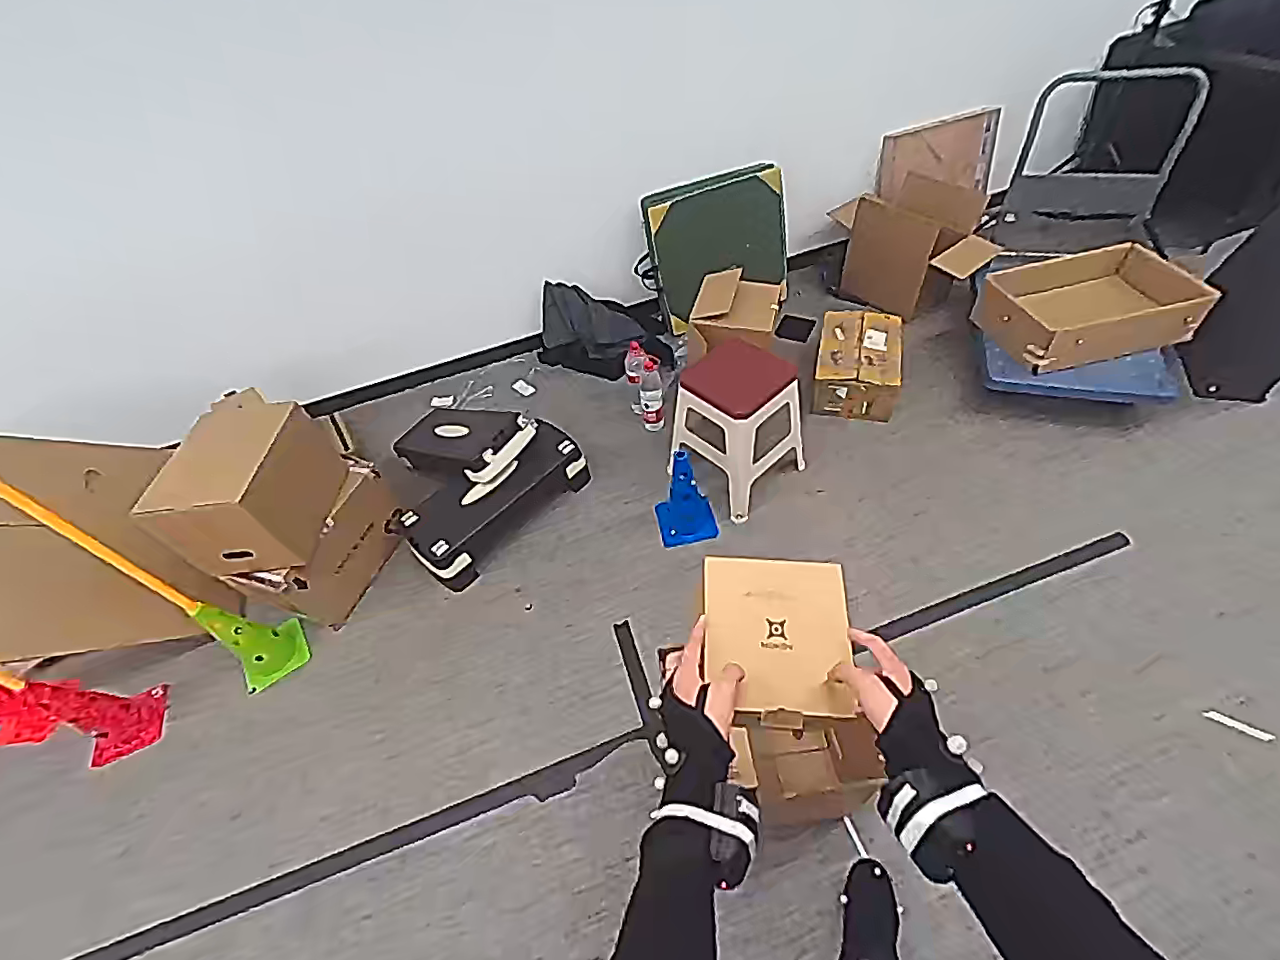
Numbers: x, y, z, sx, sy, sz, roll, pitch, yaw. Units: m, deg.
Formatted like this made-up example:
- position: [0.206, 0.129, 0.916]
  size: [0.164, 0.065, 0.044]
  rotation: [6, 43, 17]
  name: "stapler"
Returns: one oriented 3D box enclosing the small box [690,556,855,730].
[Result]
- position: [0.153, 0.211, 0.679]
  size: [0.168, 0.176, 0.179]
  rotation: [4, 61, 1]
  name: "small box"
